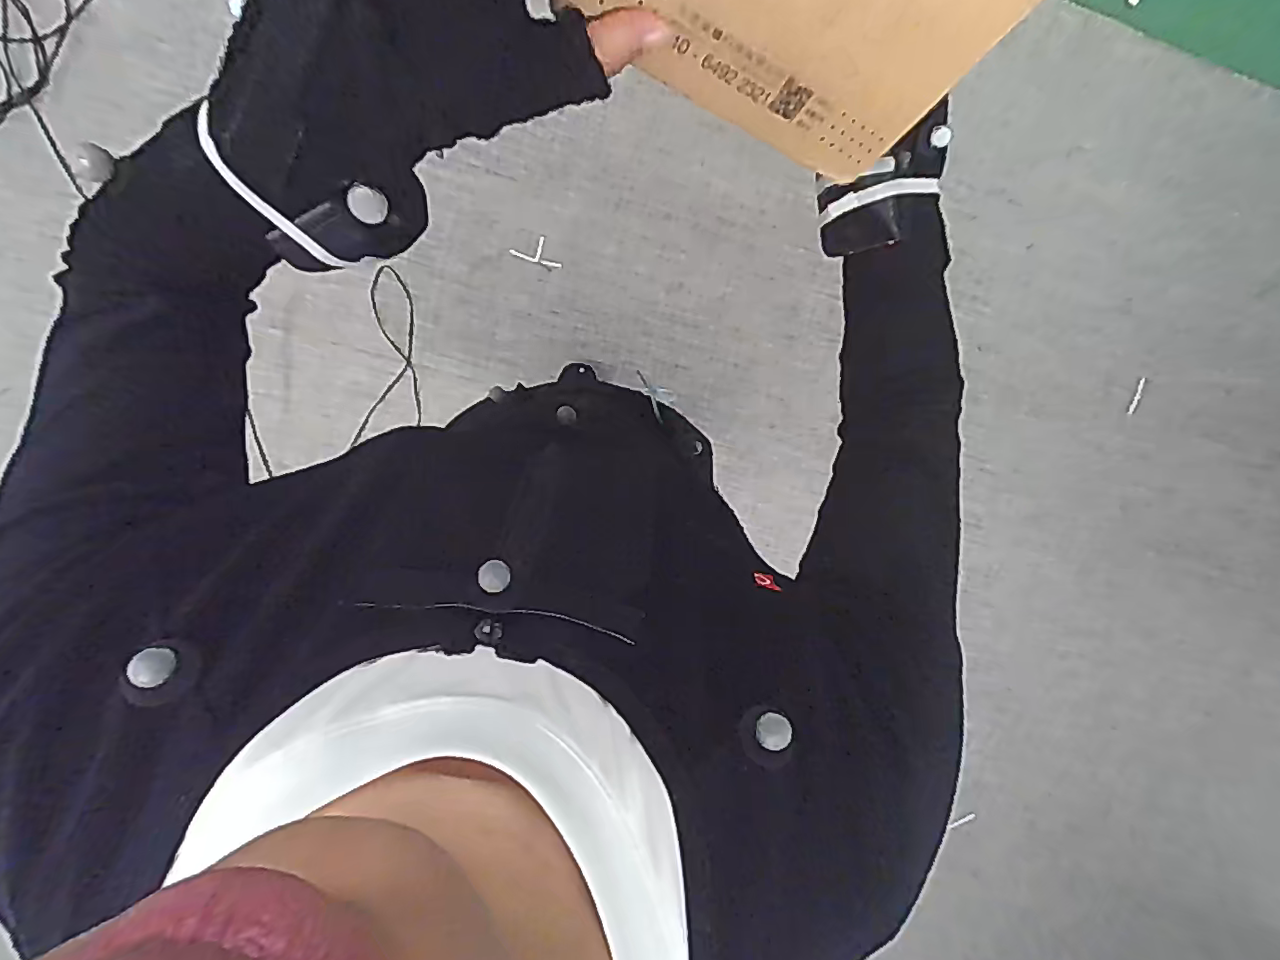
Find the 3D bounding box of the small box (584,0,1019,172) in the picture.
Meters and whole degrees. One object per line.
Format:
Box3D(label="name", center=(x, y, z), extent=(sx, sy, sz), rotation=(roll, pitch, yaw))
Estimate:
Box3D(label="small box", center=(0.075, -0.278, 0.218), extent=(0.168, 0.176, 0.179), rotation=(10, 65, -28))
